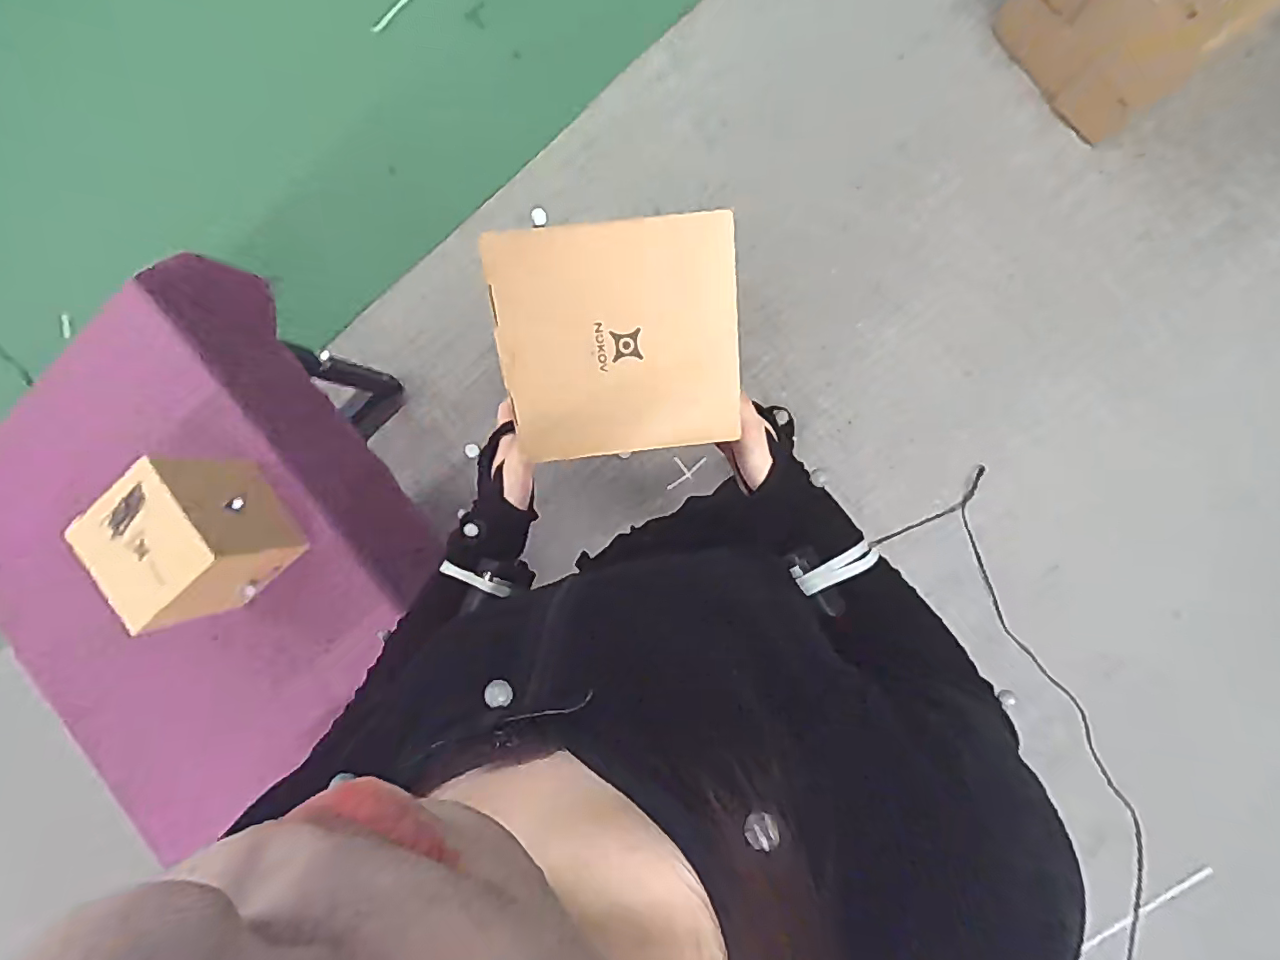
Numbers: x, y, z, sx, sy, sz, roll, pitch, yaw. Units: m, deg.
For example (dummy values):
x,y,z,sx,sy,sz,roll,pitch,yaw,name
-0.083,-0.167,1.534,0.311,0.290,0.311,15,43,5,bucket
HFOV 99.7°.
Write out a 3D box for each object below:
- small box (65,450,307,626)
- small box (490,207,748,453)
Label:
x,y,z,sx,sy,sz,roll,pitch,yaw,name
-0.643,0.077,0.785,0.168,0.176,0.179,-39,86,7,small box
-0.013,-0.134,0.464,0.179,0.176,0.168,-5,112,0,small box
